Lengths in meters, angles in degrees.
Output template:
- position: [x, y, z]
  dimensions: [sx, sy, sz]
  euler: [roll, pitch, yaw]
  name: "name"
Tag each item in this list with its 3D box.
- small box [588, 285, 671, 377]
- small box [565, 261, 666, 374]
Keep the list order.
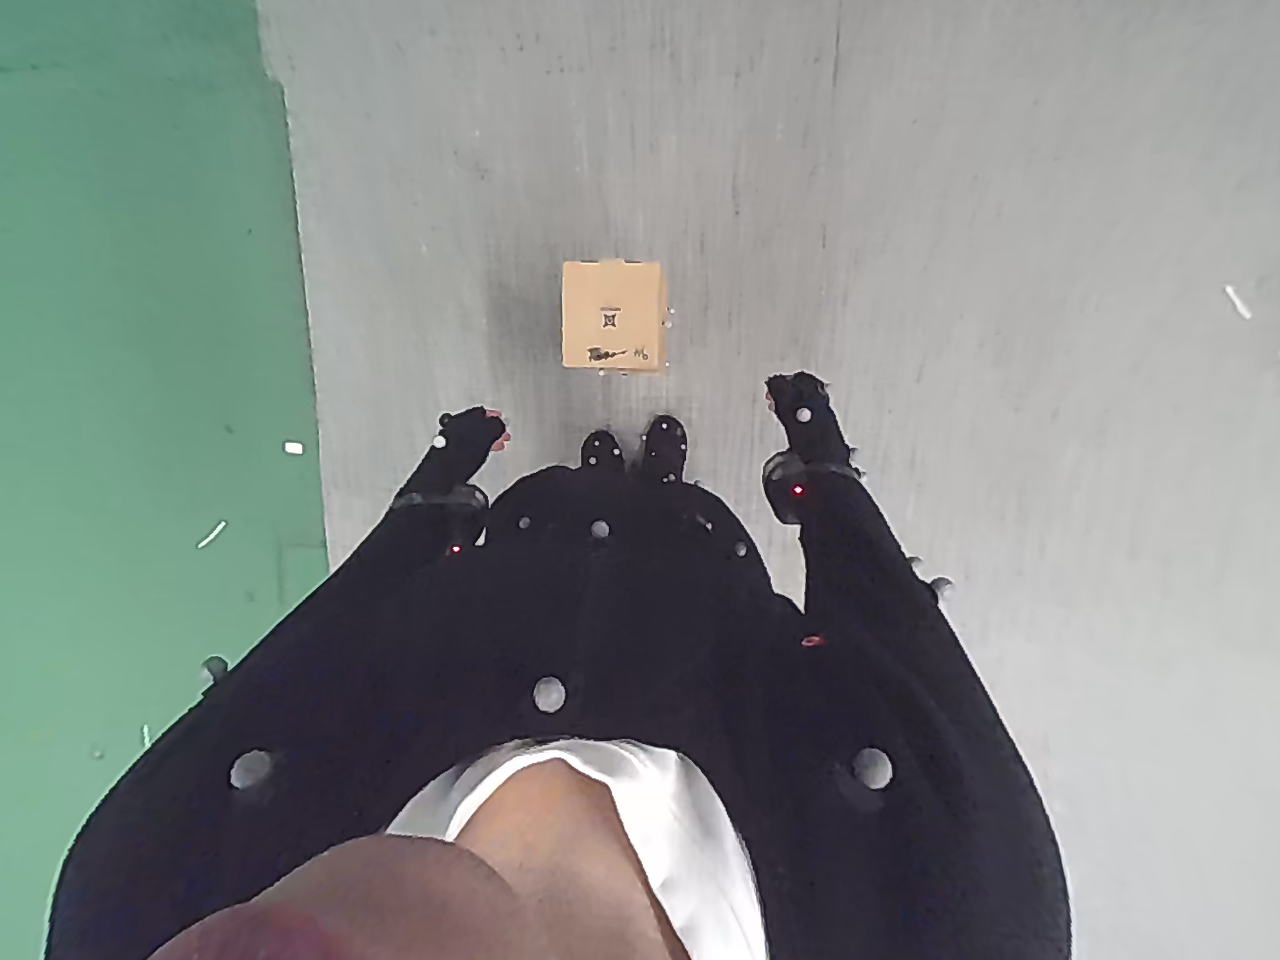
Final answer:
- position: [-0.020, -0.314, 1.154]
  dimensions: [0.168, 0.176, 0.179]
  euler: [2, 100, 5]
  name: "small box"
- position: [-0.038, -0.290, 0.992]
  dimensions: [0.168, 0.176, 0.179]
  euler: [2, 99, 5]
  name: "small box"
